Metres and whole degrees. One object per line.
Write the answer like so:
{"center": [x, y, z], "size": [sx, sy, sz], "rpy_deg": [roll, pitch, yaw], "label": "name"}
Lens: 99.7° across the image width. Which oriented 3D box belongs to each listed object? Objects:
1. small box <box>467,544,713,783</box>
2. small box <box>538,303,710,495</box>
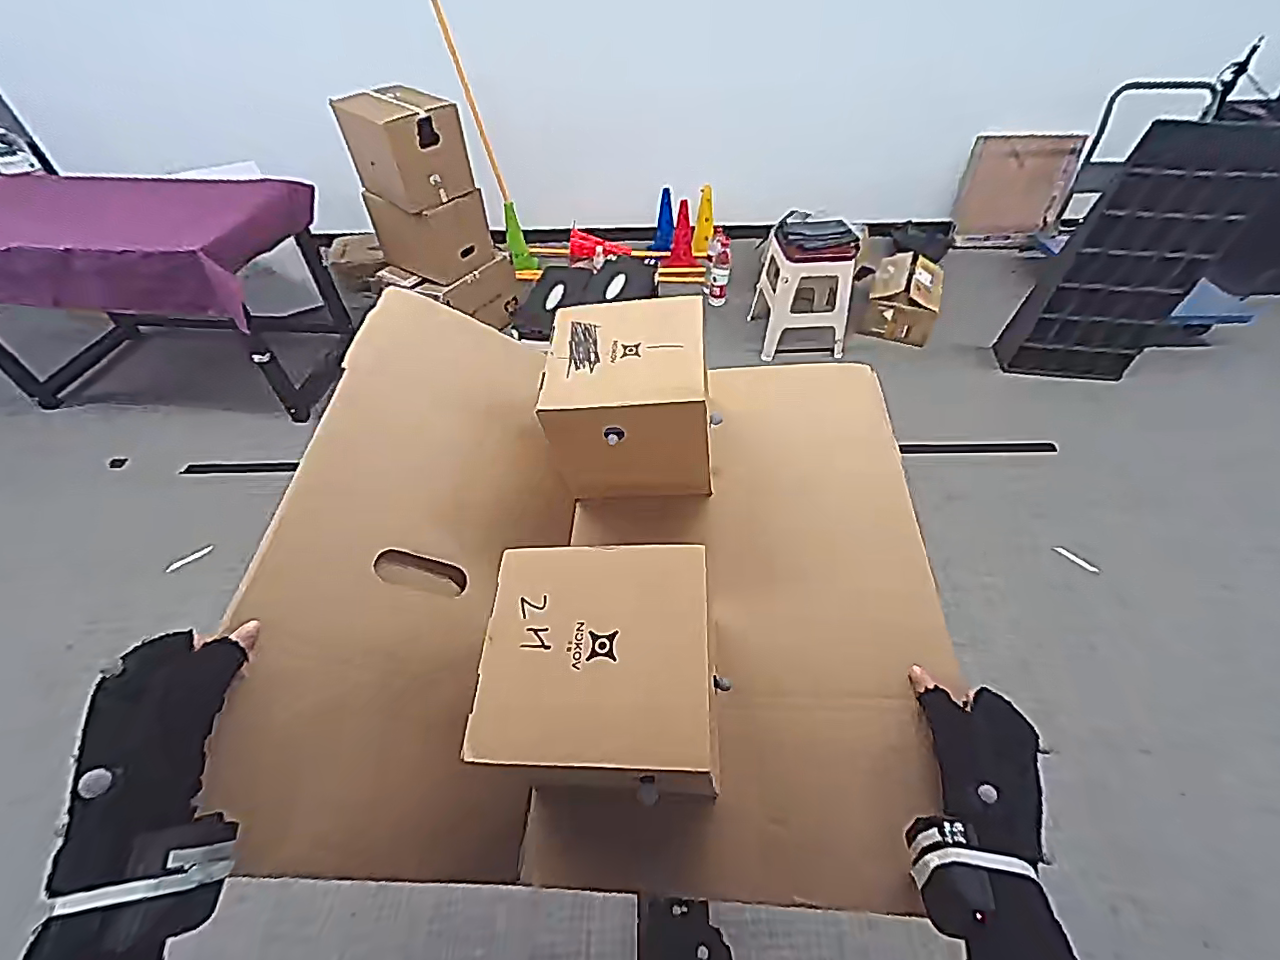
{"center": [-0.024, 0.169, 0.488], "size": [0.179, 0.176, 0.168], "rpy_deg": [-2, 55, 10], "label": "small box"}
{"center": [-0.006, -0.092, 0.667], "size": [0.179, 0.176, 0.168], "rpy_deg": [-2, 55, 9], "label": "small box"}
